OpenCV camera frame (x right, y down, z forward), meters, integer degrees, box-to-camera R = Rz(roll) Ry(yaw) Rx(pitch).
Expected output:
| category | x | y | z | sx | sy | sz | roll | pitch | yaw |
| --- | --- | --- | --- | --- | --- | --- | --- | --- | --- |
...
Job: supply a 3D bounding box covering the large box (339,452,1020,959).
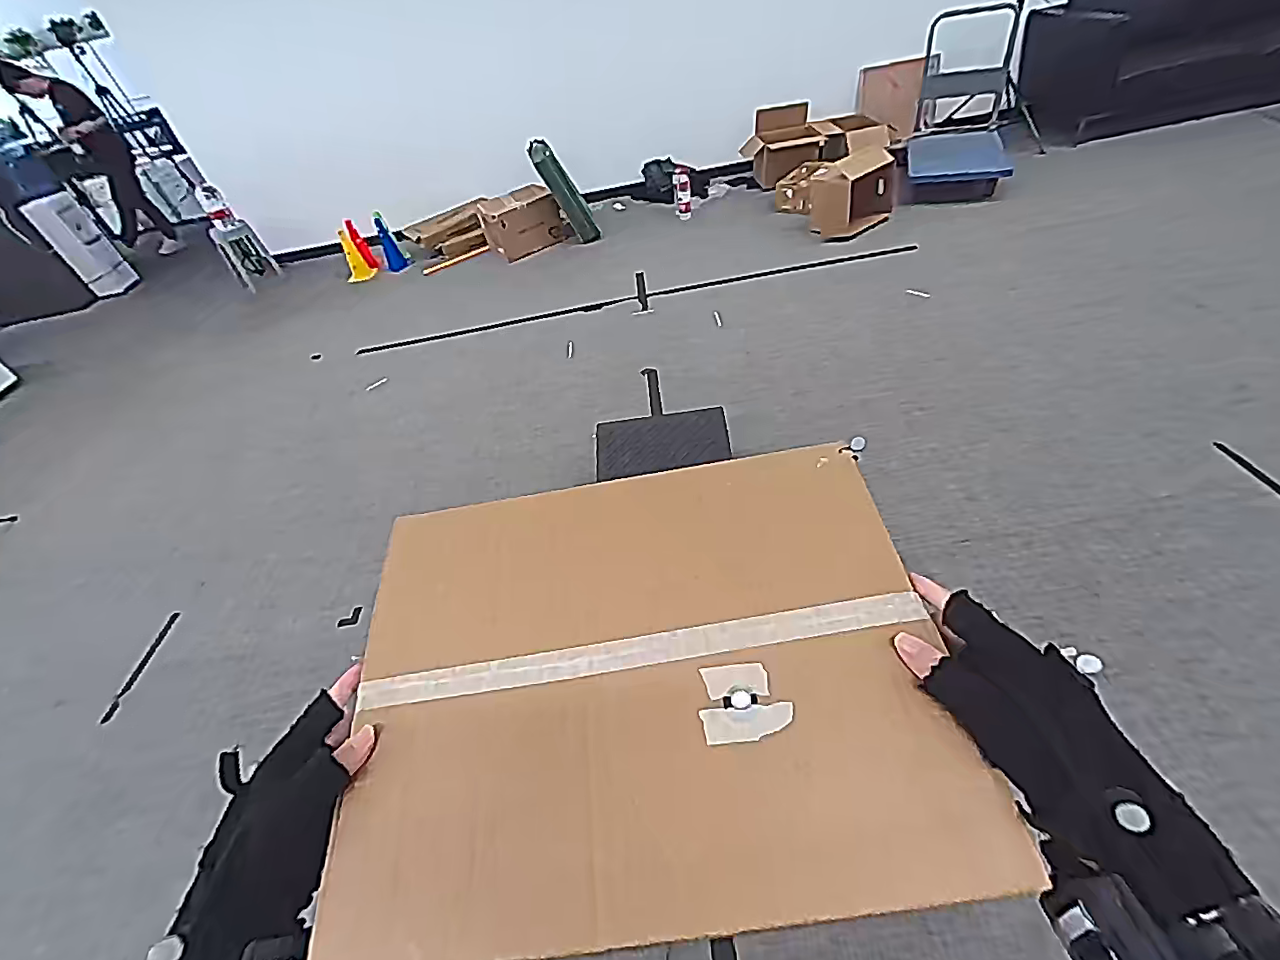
| category | x | y | z | sx | sy | sz | roll | pitch | yaw |
| --- | --- | --- | --- | --- | --- | --- | --- | --- | --- |
| large box | 0.020 | 0.218 | 0.513 | 0.408 | 0.320 | 0.320 | -10 | 53 | 2 |
